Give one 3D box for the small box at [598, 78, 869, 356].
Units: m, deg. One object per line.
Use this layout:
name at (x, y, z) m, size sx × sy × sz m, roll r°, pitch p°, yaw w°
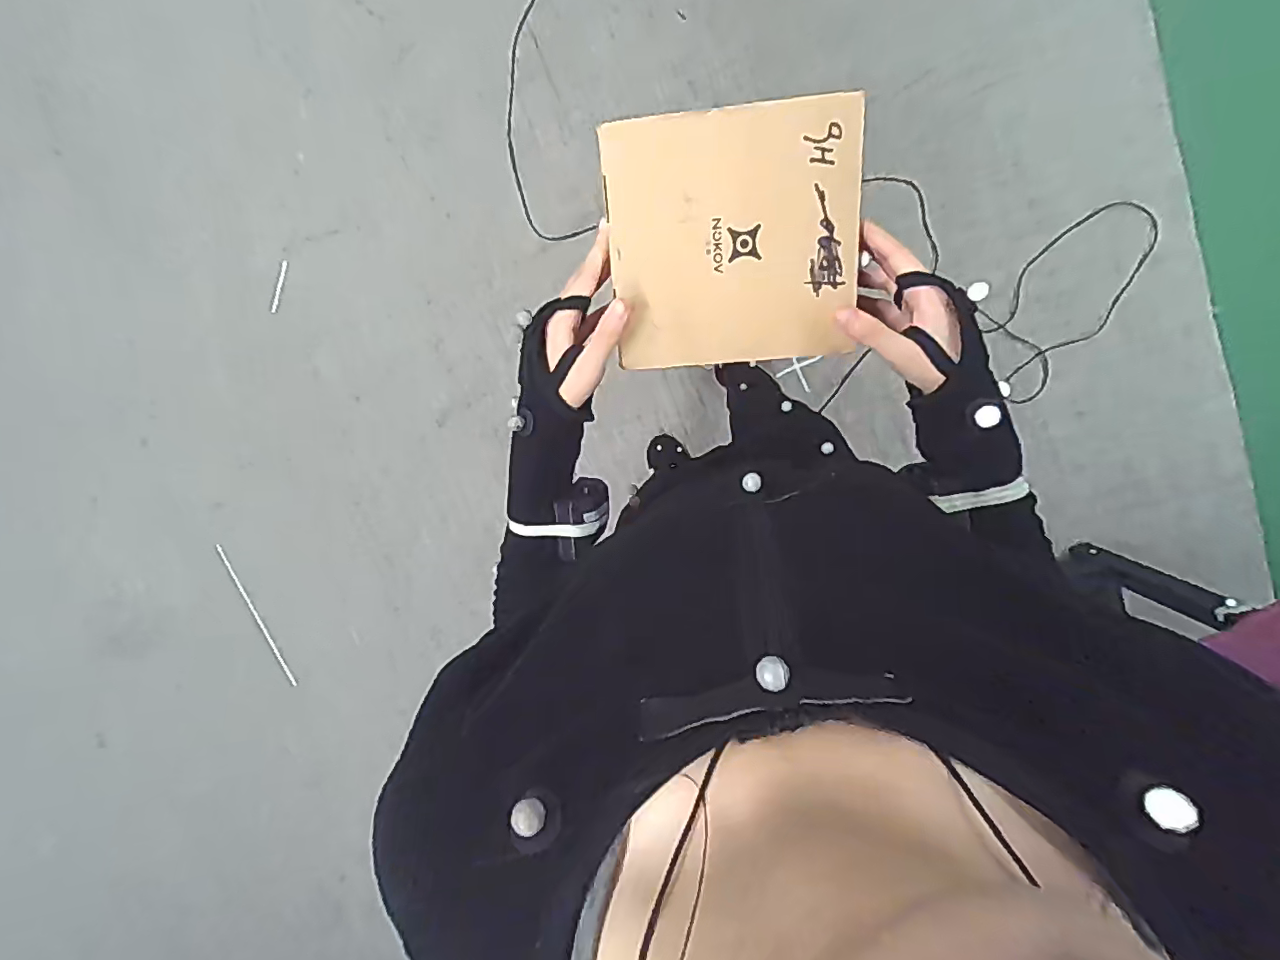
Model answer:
small box at (0.069, -0.196, 0.446) m, size 0.179 × 0.176 × 0.168 m, roll -3°, pitch 108°, yaw 5°
